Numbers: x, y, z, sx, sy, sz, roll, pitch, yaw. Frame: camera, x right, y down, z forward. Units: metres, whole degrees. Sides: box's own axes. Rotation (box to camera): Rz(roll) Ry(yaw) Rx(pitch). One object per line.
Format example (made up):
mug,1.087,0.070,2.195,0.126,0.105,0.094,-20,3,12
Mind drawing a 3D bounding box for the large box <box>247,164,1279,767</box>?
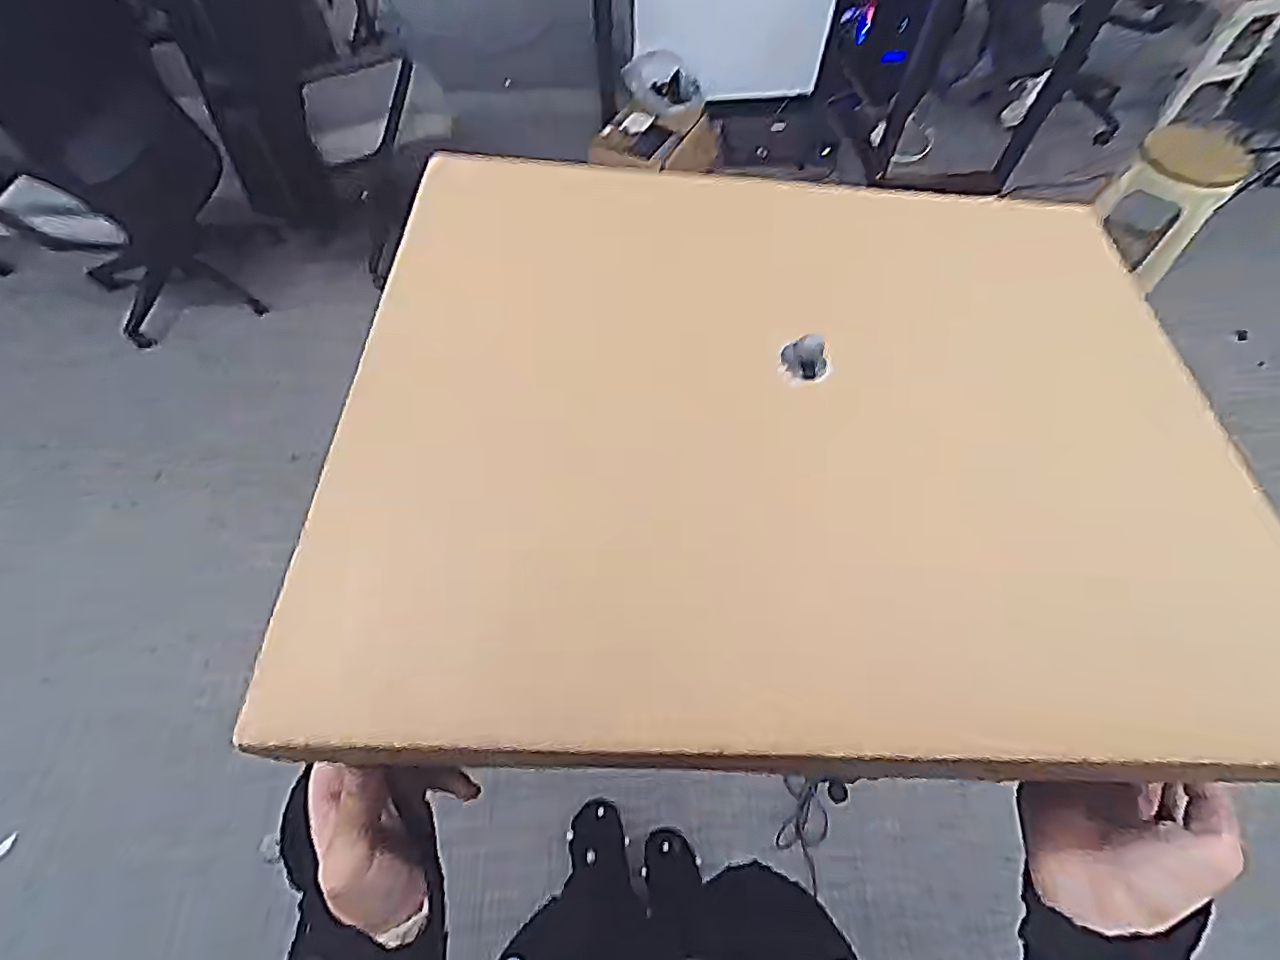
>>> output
large box,0.060,0.020,0.382,0.408,0.320,0.320,2,62,-3
